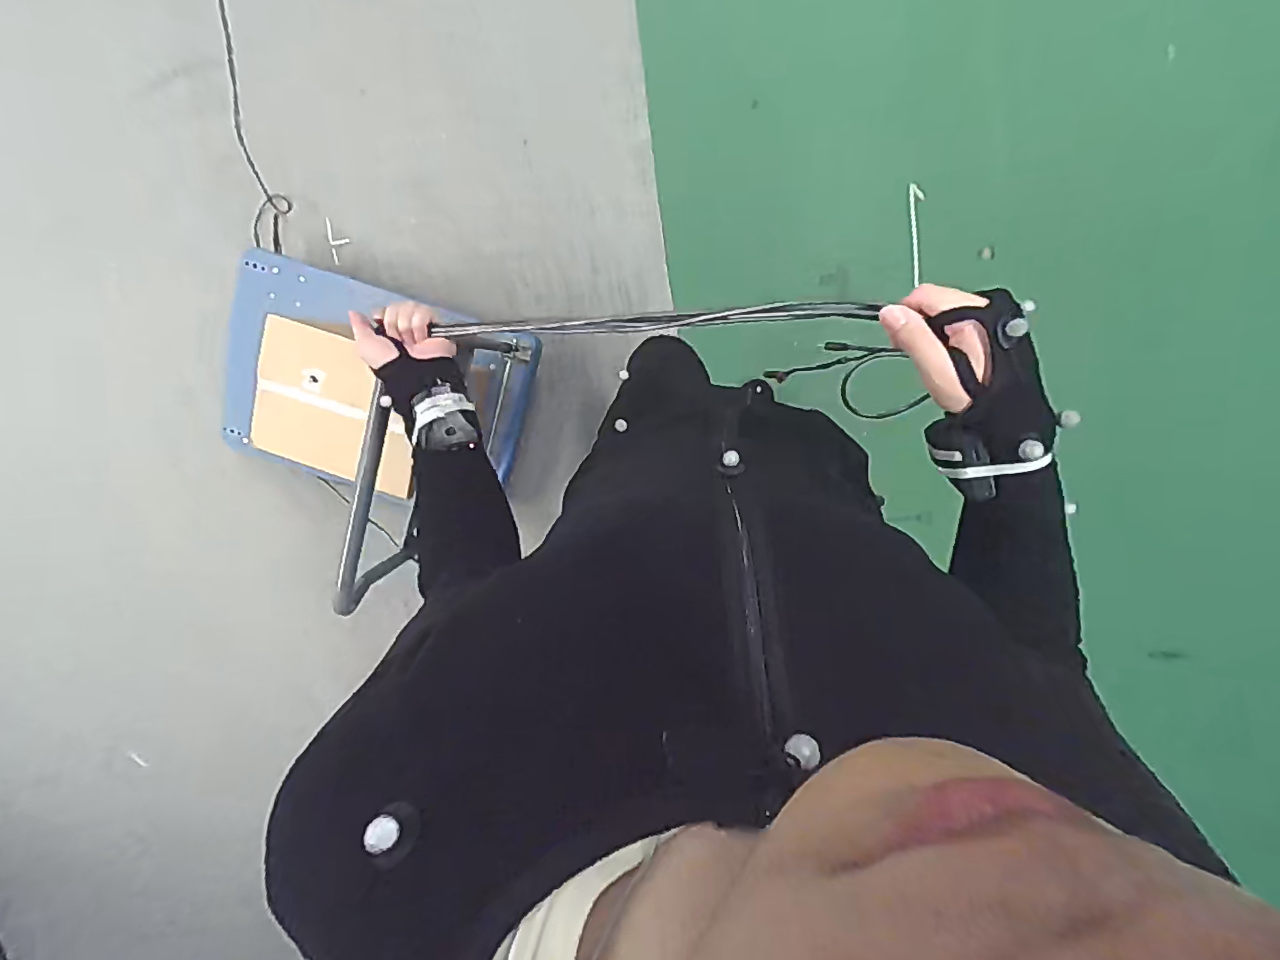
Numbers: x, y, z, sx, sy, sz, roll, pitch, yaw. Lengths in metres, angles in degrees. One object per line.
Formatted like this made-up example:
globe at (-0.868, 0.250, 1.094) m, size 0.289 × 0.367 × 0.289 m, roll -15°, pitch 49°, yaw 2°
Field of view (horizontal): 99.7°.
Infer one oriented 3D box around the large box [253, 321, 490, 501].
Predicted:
large box at (-0.644, -0.177, 1.347) m, size 0.408 × 0.320 × 0.320 m, roll 19°, pitch 101°, yaw 5°
